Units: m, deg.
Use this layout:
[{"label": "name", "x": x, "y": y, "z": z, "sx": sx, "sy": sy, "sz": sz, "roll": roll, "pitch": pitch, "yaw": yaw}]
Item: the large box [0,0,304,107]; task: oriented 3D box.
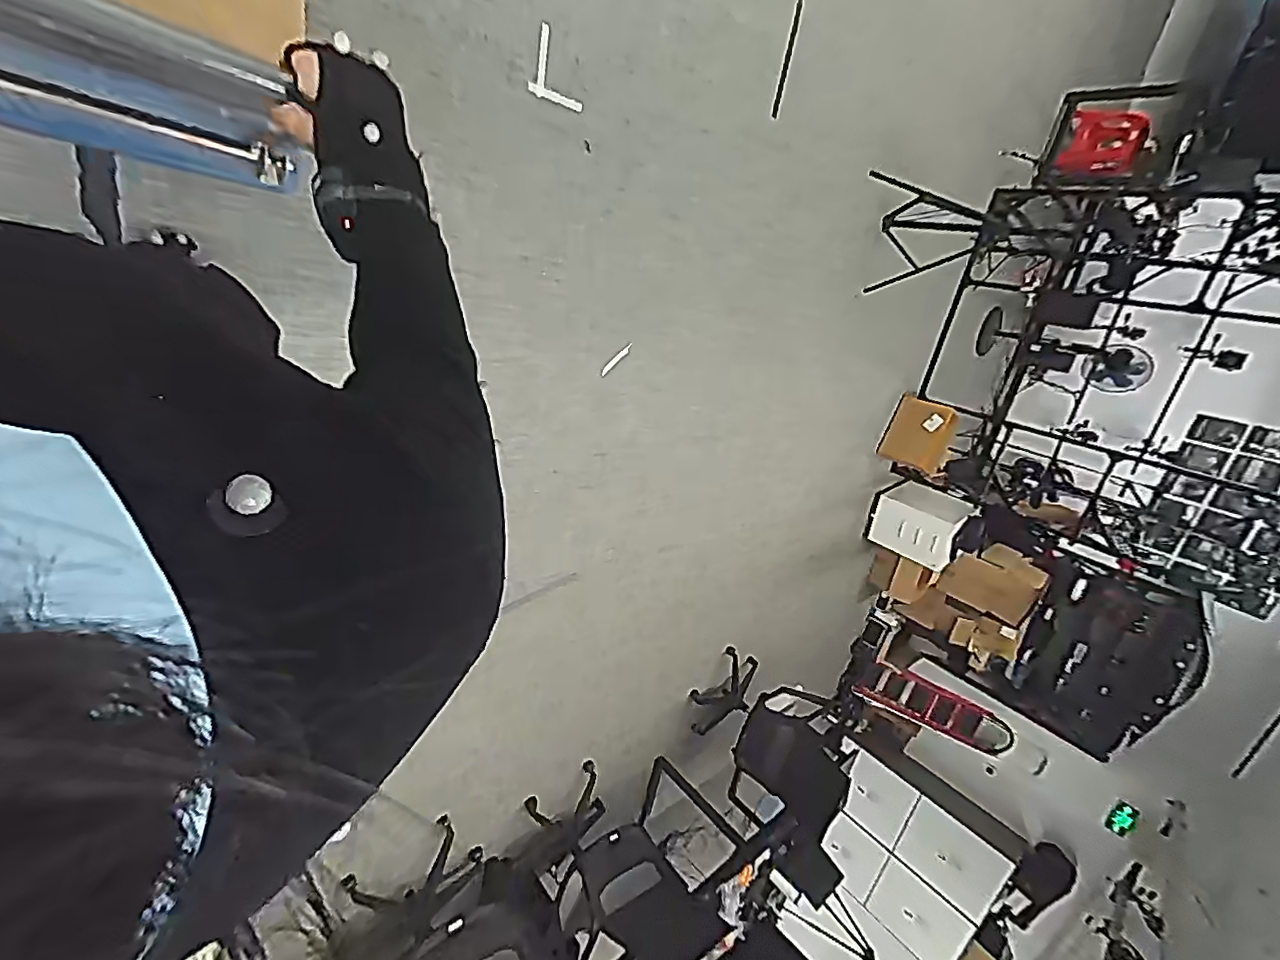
[{"label": "large box", "x": -0.701, "y": -0.719, "z": 0.678, "sx": 0.408, "sy": 0.320, "sz": 0.320, "roll": -10, "pitch": 119, "yaw": -43}]
